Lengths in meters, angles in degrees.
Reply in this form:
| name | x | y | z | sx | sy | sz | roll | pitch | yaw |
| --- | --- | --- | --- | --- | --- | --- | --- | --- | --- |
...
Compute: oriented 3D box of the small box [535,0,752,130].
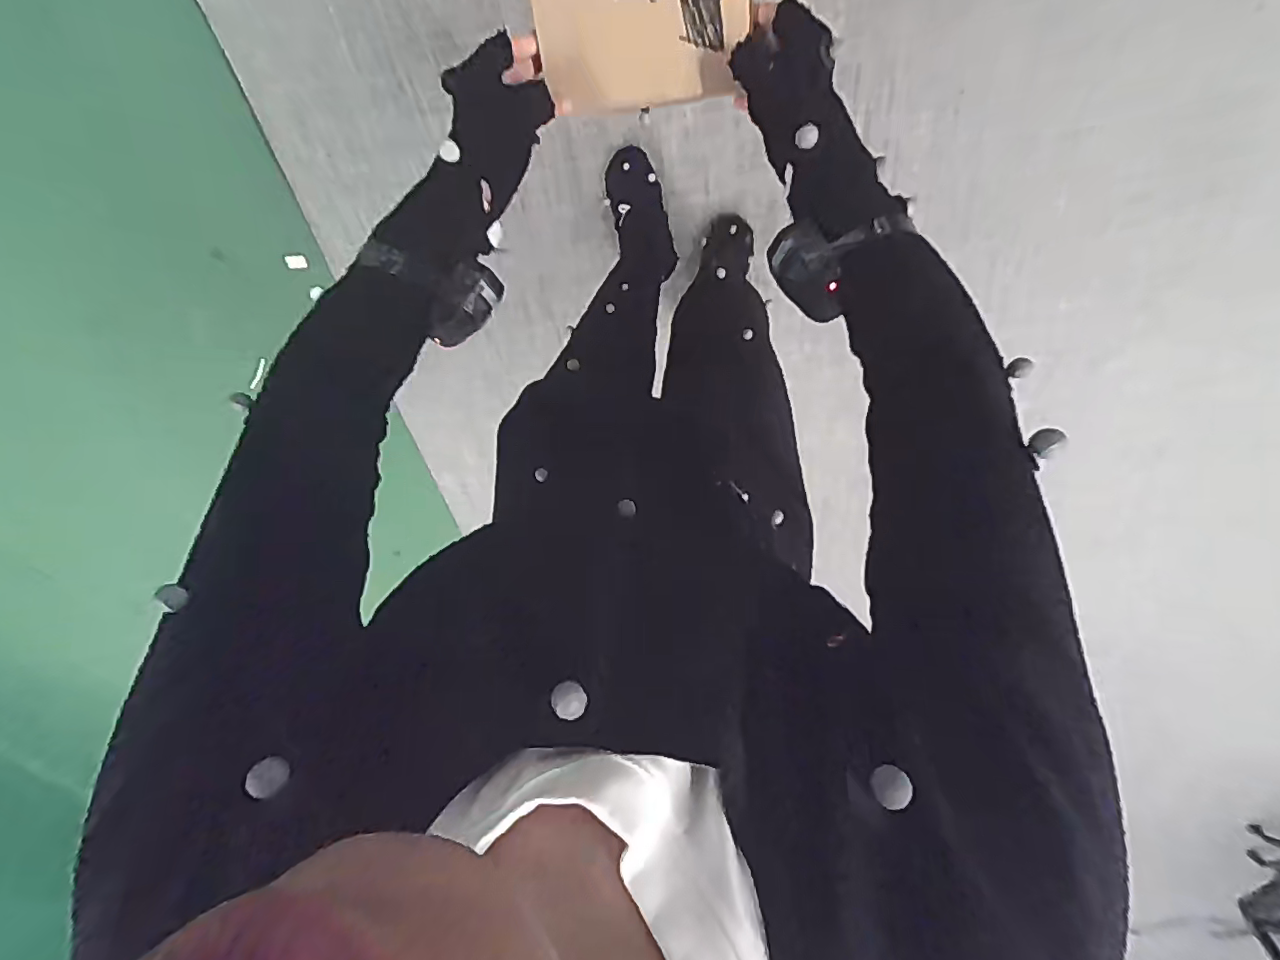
| name | x | y | z | sx | sy | sz | roll | pitch | yaw |
| --- | --- | --- | --- | --- | --- | --- | --- | --- | --- |
| small box | 0.005 | -0.432 | 0.501 | 0.179 | 0.176 | 0.168 | -4 | 121 | 7 |
